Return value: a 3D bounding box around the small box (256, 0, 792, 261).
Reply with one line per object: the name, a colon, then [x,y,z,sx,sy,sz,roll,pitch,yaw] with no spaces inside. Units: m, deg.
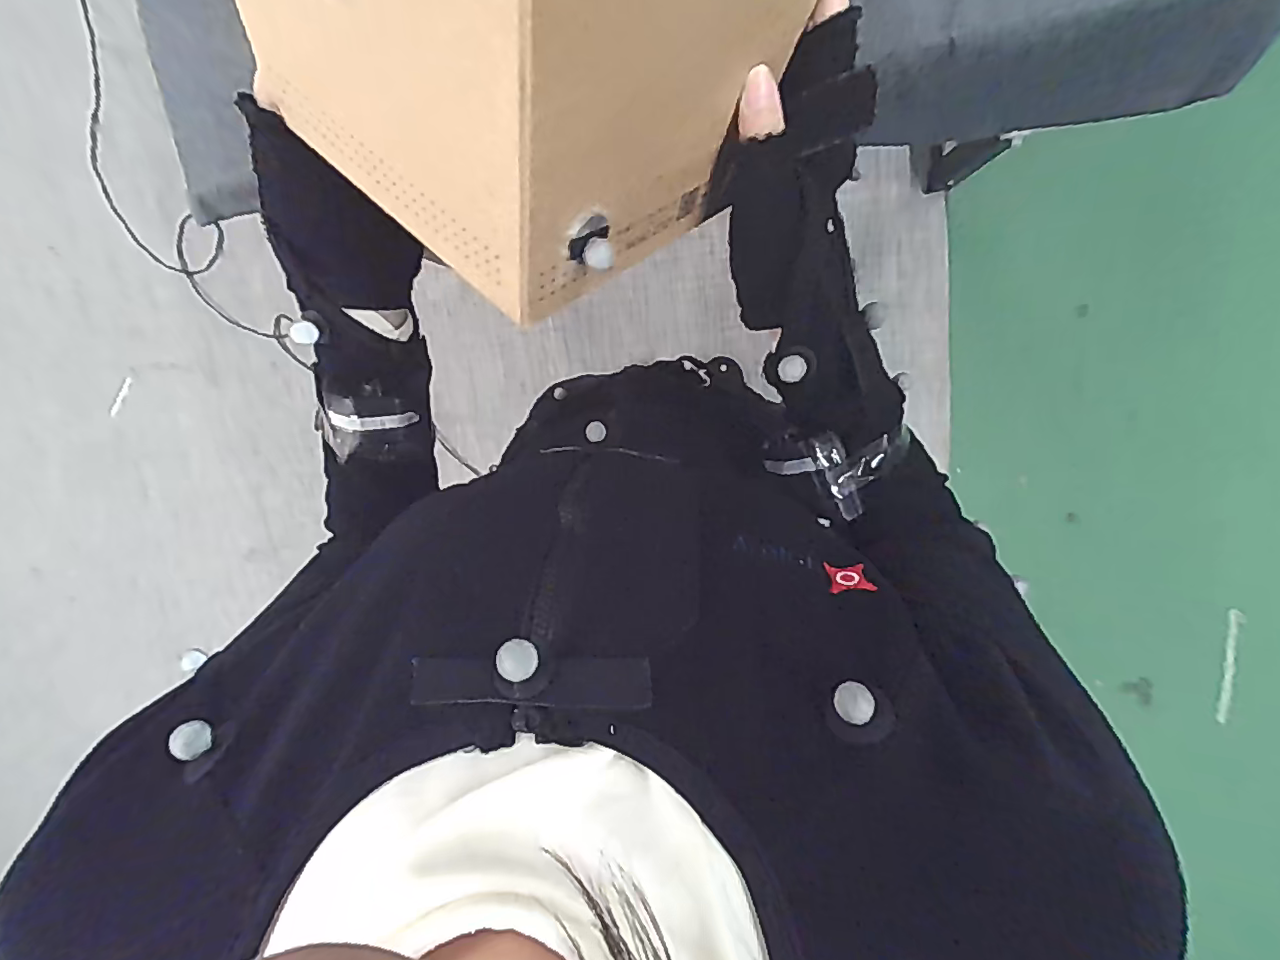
small box: [-0.043,-0.217,0.216,0.179,0.176,0.168,41,60,12]
